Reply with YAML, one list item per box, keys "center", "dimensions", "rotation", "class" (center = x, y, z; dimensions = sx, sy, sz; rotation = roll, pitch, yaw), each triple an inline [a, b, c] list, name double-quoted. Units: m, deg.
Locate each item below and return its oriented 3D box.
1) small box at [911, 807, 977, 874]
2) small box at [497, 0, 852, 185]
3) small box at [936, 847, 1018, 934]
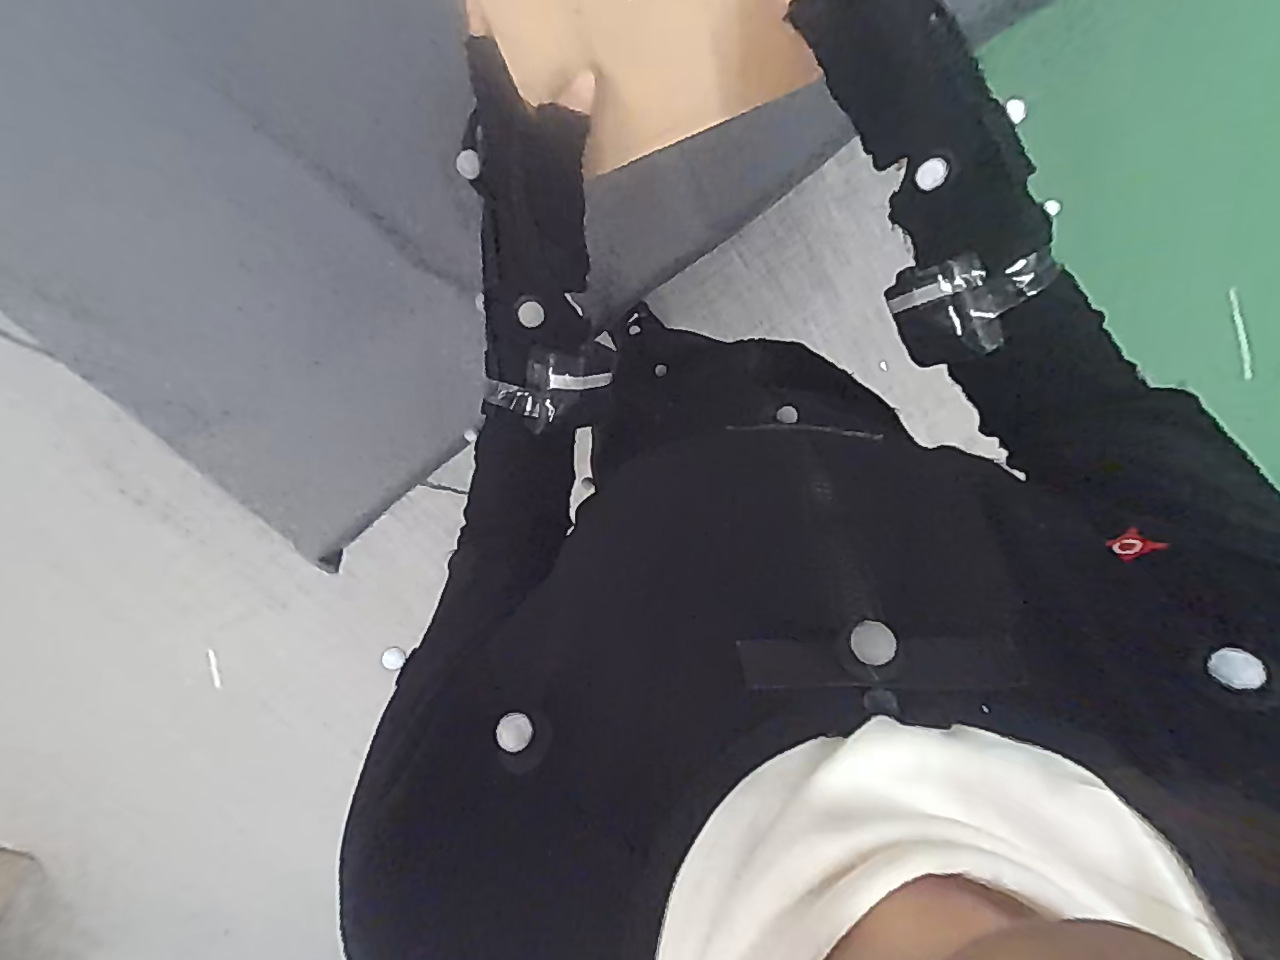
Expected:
- center: [1.215, 1.455, 2.149]
  dimensions: [0.179, 0.176, 0.168]
  rotation: [-37, 112, 7]
  class: "small box"
- center: [0.005, -0.315, 0.319]
  dimensions: [0.179, 0.176, 0.168]
  rotation: [-17, 135, 10]
  class: "small box"
- center: [1.234, 1.513, 1.997]
  dimensions: [0.179, 0.176, 0.168]
  rotation: [-39, 111, 9]
  class: "small box"
